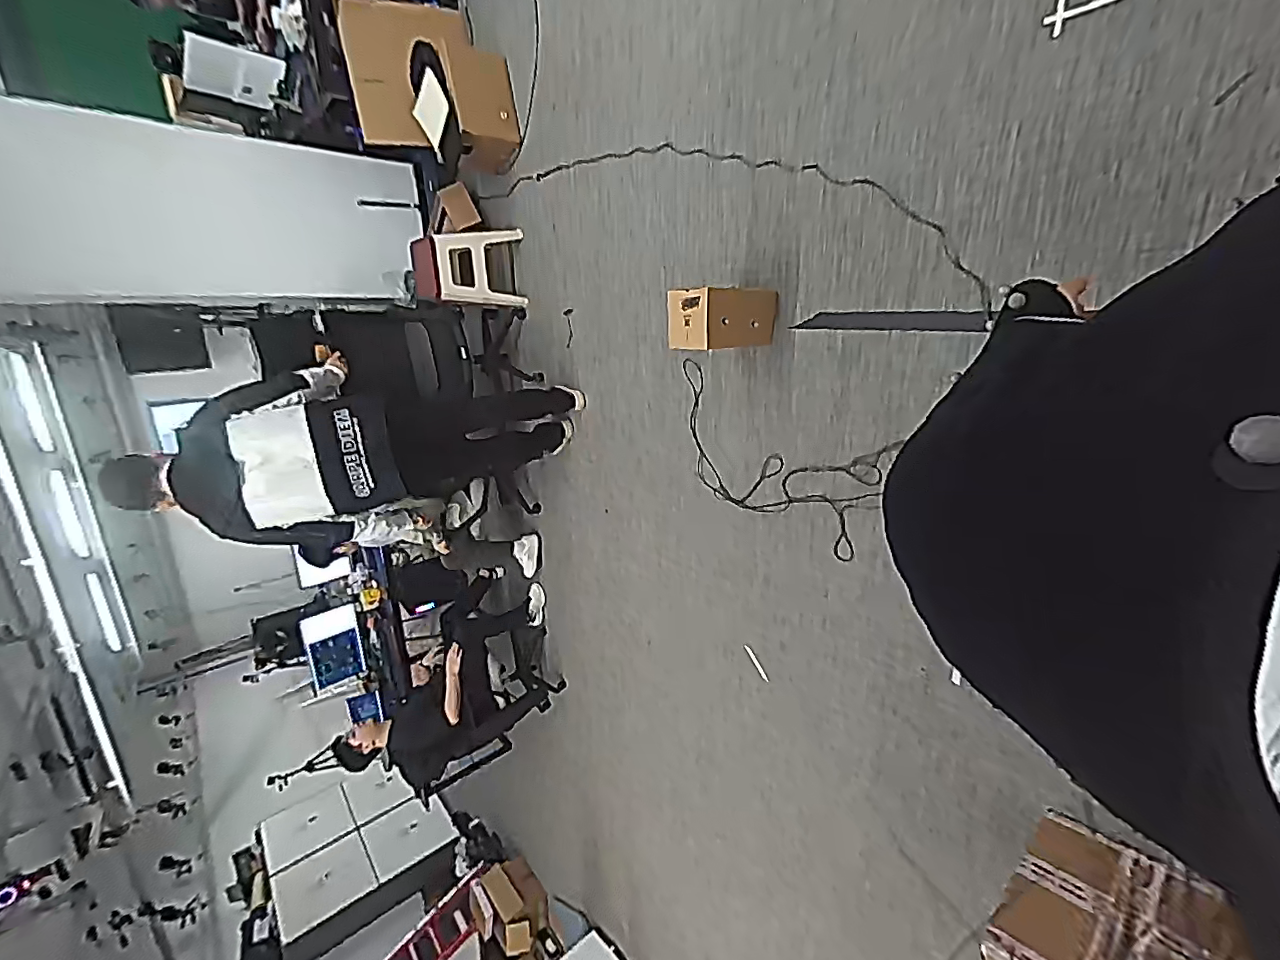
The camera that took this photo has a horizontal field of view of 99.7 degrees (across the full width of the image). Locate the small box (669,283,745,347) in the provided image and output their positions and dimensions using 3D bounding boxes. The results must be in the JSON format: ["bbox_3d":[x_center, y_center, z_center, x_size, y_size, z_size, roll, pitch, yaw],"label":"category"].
[{"bbox_3d":[0.205,-0.503,1.652,0.168,0.176,0.179,18,116,47],"label":"small box"}]

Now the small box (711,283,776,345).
[{"bbox_3d":[0.323,-0.544,1.761,0.168,0.176,0.179,26,121,44],"label":"small box"}]
